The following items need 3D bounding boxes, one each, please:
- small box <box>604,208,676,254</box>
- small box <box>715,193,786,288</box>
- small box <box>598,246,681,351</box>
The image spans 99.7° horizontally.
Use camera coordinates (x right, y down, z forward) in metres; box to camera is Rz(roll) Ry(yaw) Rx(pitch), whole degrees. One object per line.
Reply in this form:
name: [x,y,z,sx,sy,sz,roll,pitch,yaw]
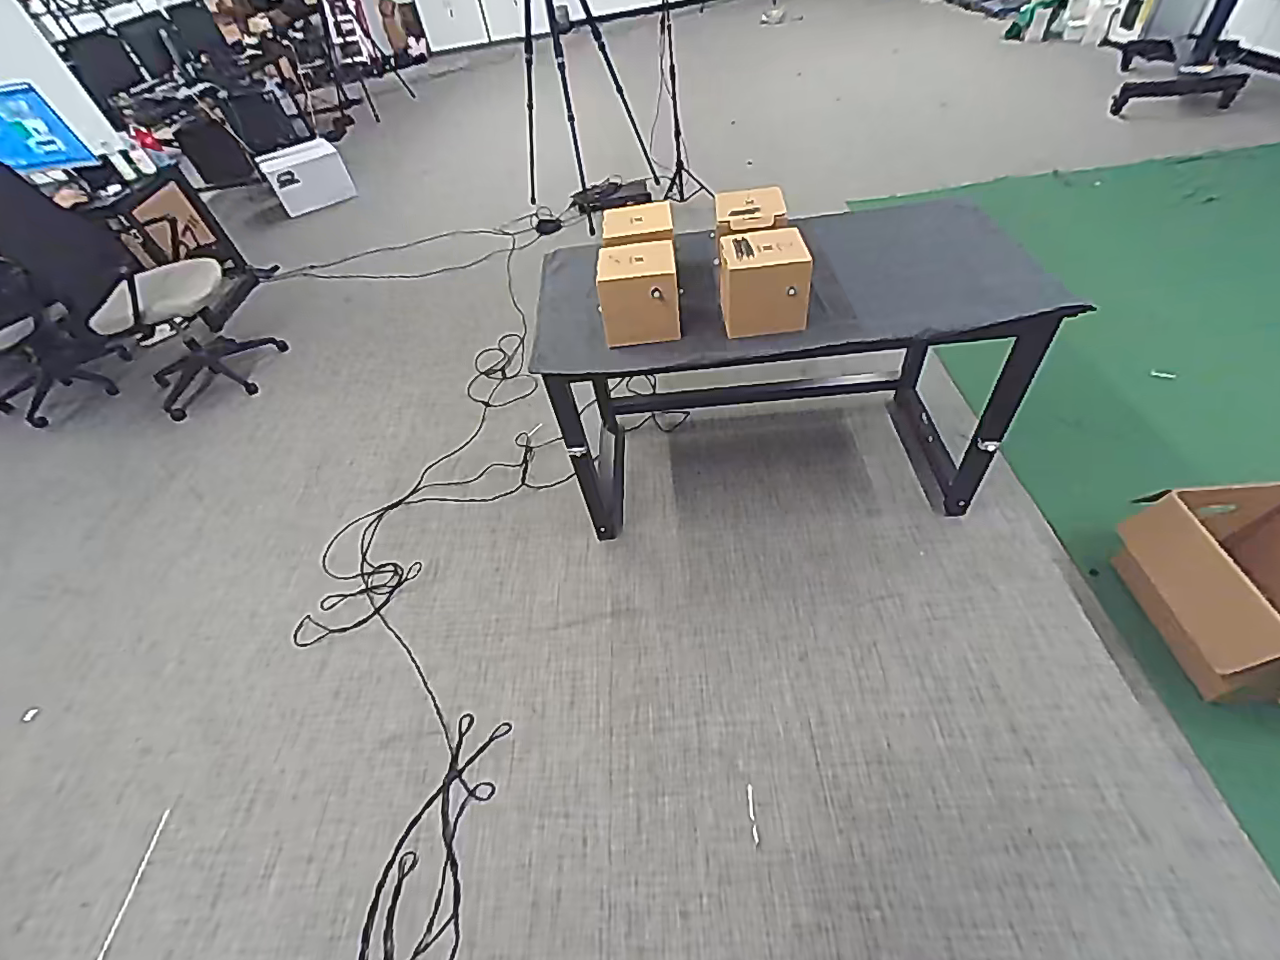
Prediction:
small box: [0.007,-0.587,1.425,0.179,0.176,0.168,-7,48,5]
small box: [0.281,-0.607,1.390,0.168,0.176,0.179,-2,47,8]
small box: [0.004,-0.423,1.272,0.179,0.176,0.168,-5,46,5]
